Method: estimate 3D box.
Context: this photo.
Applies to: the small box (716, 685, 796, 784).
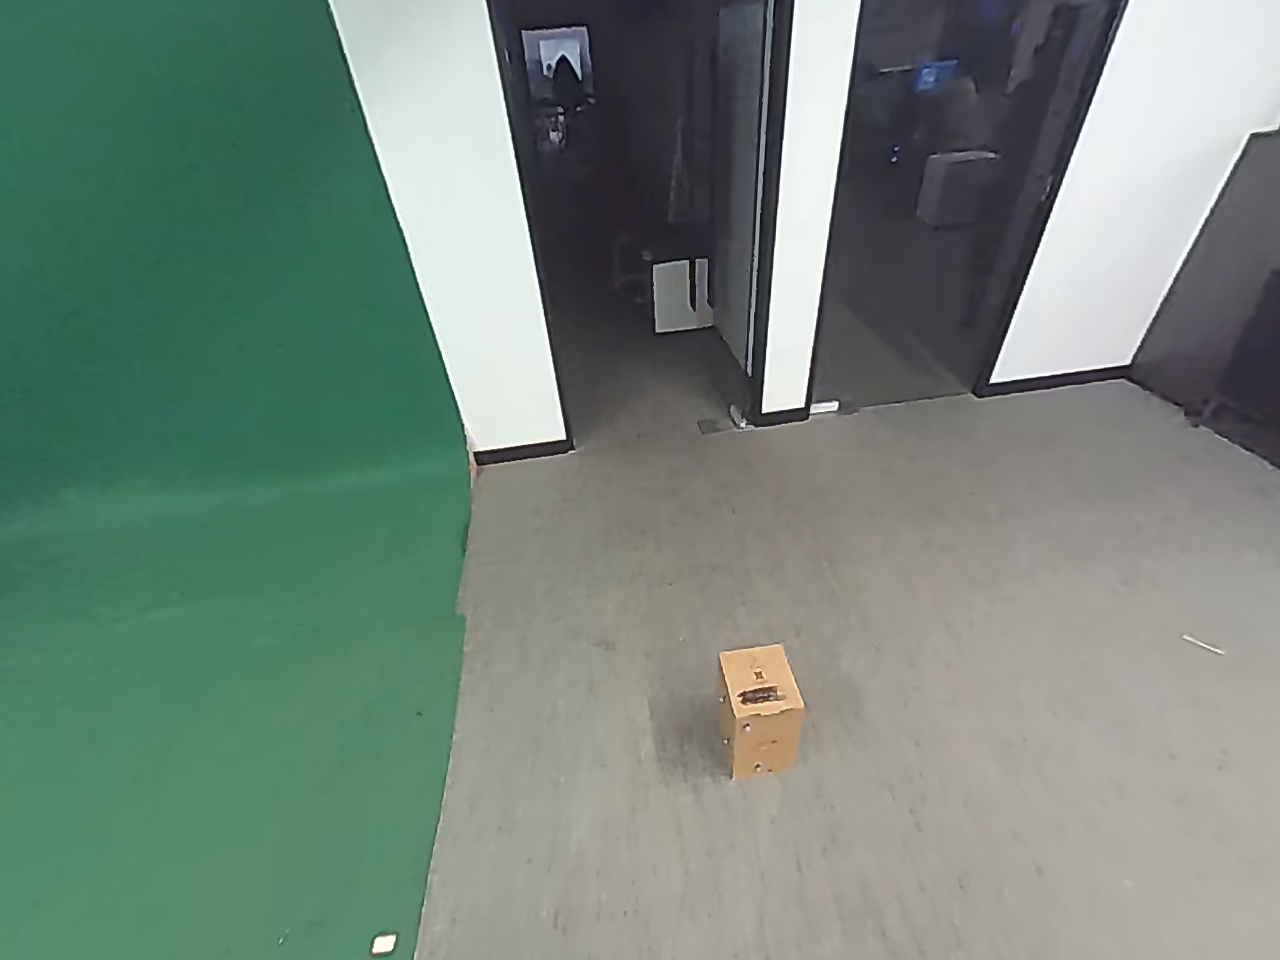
[{"bbox_3d":[0.304,0.686,1.460,0.168,0.176,0.179,-7,38,-4],"label":"small box"}]
